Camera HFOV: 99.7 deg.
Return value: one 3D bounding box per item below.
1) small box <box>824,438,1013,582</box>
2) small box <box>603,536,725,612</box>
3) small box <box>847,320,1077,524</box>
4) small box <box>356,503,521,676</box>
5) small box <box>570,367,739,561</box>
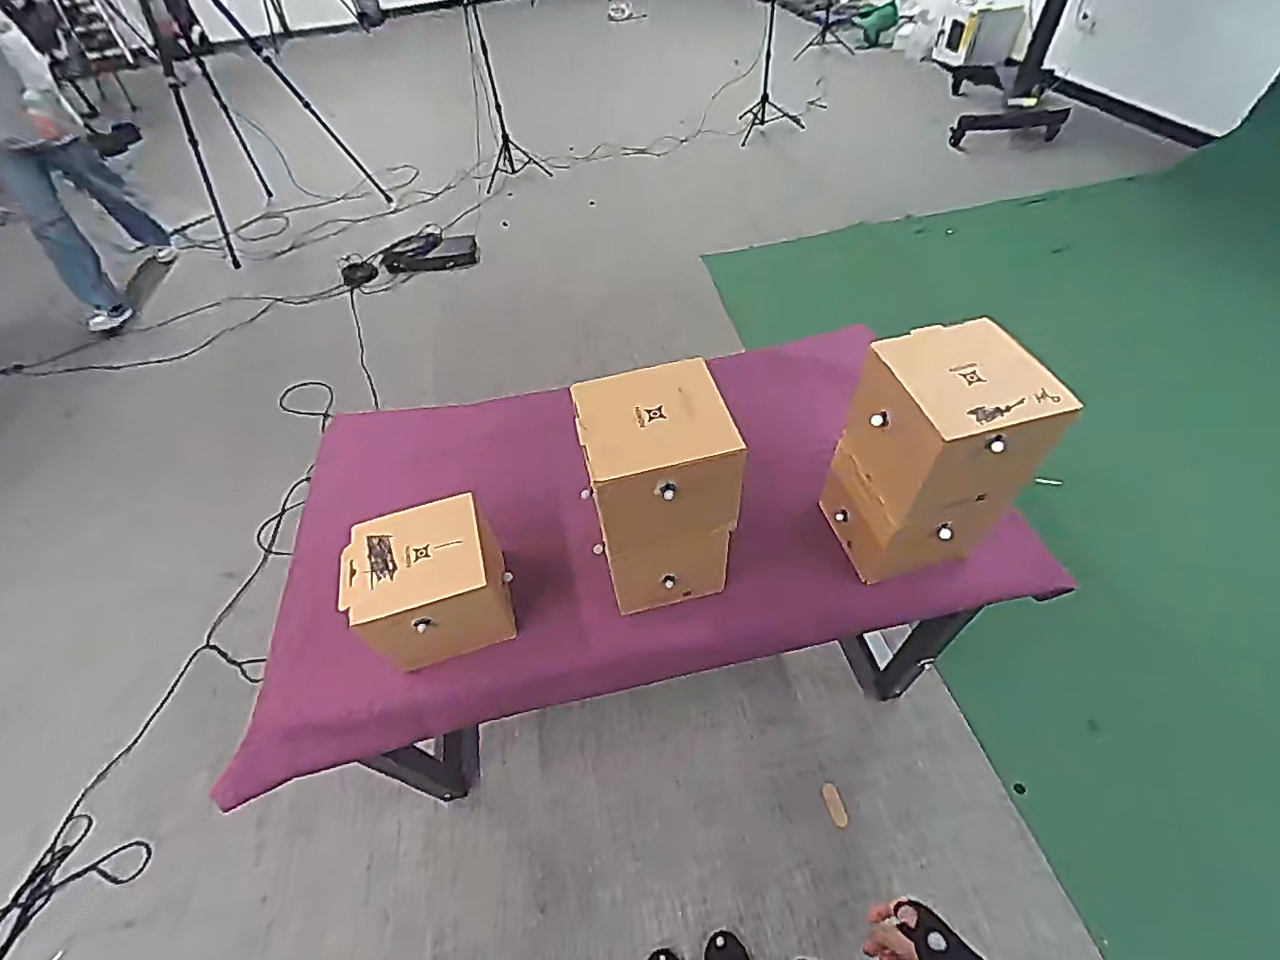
[{"bbox_3d":[0.405,0.031,0.826,0.179,0.176,0.168,-15,52,-3],"label":"small box"},{"bbox_3d":[0.029,0.085,0.830,0.168,0.176,0.179,-13,50,-4],"label":"small box"},{"bbox_3d":[0.390,-0.073,0.699,0.168,0.176,0.179,-15,51,-2],"label":"small box"},{"bbox_3d":[-0.294,0.167,0.805,0.179,0.176,0.168,-17,51,-8],"label":"small box"},{"bbox_3d":[0.019,-0.015,0.701,0.179,0.176,0.168,-13,51,-4],"label":"small box"}]
